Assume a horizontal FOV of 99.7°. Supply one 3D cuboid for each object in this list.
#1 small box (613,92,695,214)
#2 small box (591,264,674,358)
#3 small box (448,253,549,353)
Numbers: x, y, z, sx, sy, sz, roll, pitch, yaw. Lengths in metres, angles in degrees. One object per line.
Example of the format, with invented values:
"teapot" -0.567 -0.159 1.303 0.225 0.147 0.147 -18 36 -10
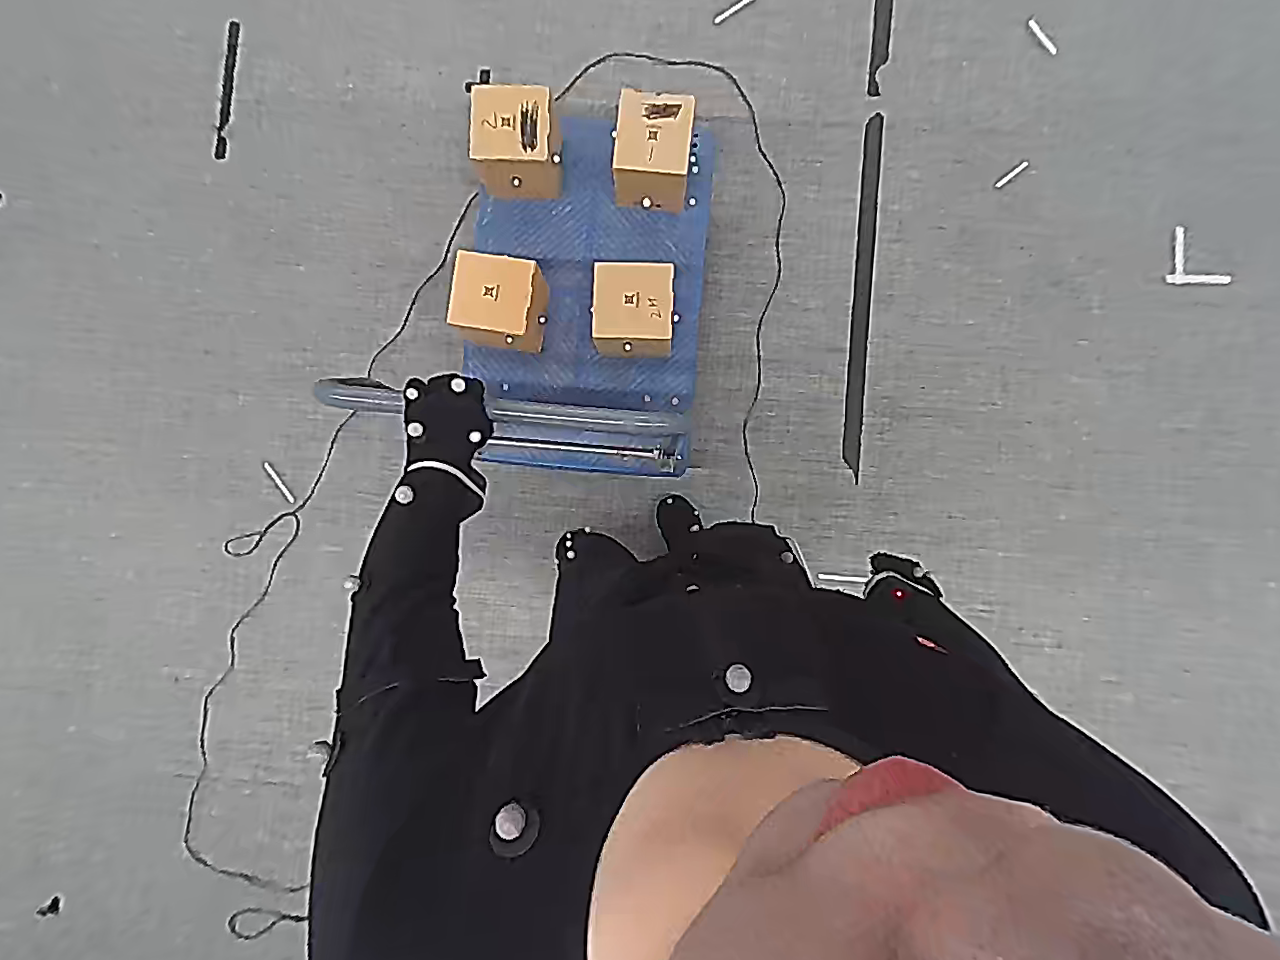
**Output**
"small box" 0.031 -0.751 1.254 0.168 0.176 0.179 6 90 1
"small box" -0.013 -0.383 1.249 0.179 0.176 0.168 2 89 1
"small box" -0.322 -0.402 1.256 0.179 0.176 0.168 8 89 0
